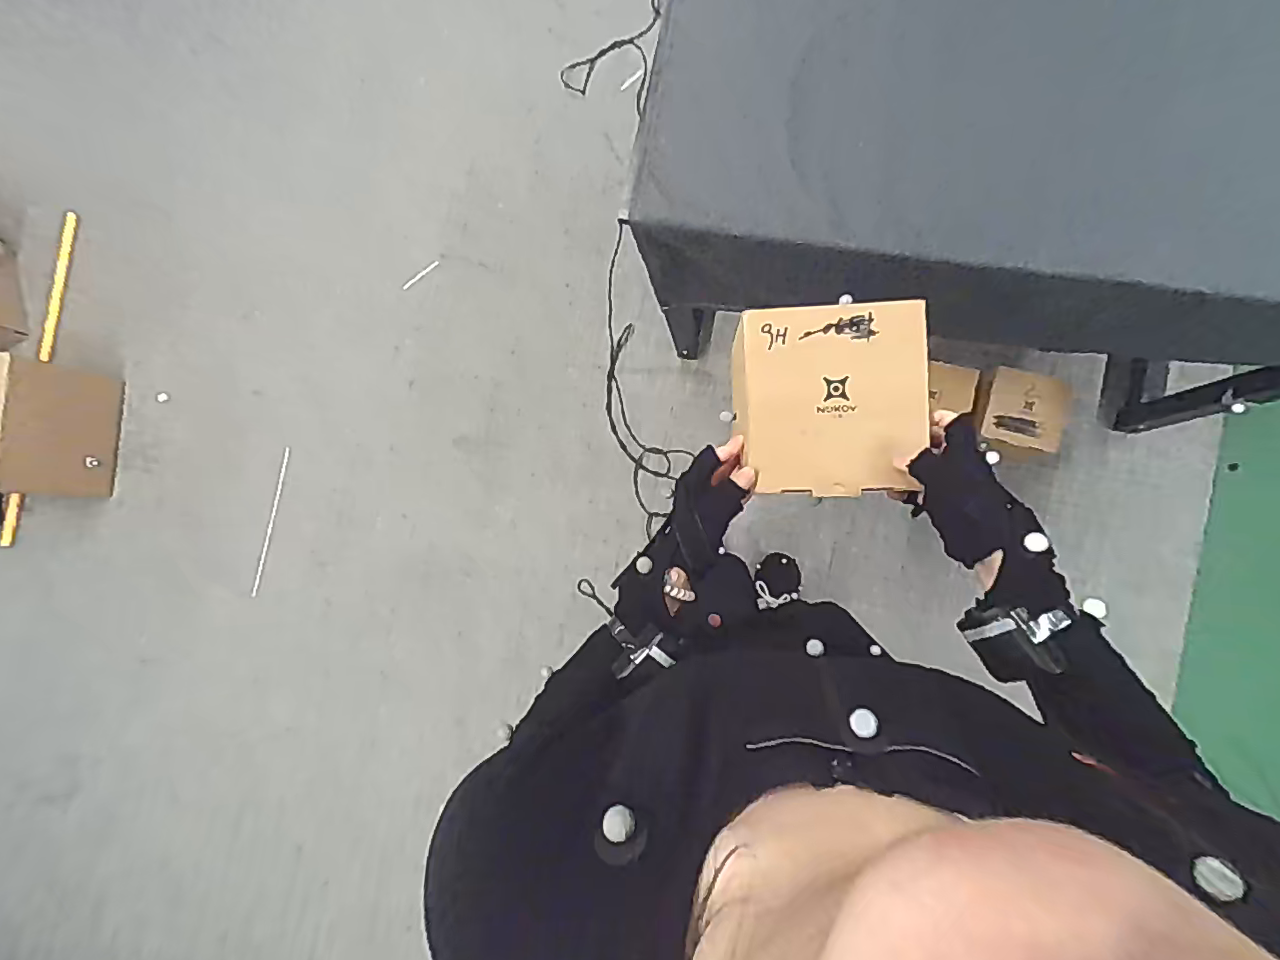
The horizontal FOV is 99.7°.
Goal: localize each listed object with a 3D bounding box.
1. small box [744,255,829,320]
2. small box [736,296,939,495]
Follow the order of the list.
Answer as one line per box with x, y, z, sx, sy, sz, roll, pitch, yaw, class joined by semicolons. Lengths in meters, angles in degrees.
0.375;-0.452;1.419;0.168;0.176;0.179;19;88;11;small box
0.192;-0.078;0.568;0.168;0.176;0.179;-2;91;5;small box
